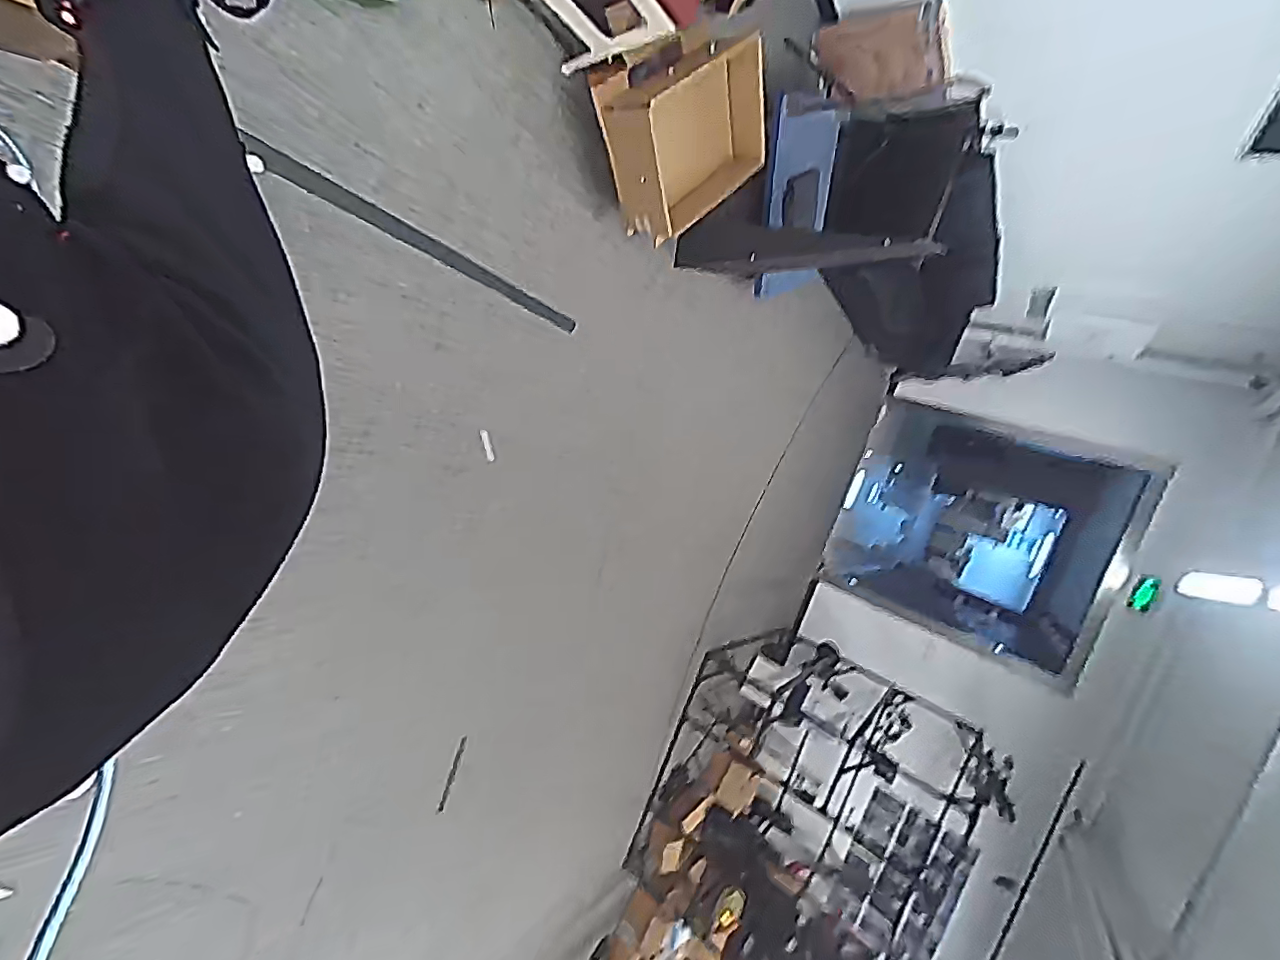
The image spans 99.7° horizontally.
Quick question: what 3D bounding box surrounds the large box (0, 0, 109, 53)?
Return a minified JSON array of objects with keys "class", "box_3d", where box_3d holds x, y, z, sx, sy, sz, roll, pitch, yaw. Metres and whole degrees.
[{"class":"large box","box_3d":[-0.640,-0.530,0.316,0.408,0.320,0.320,-13,121,-53]}]
